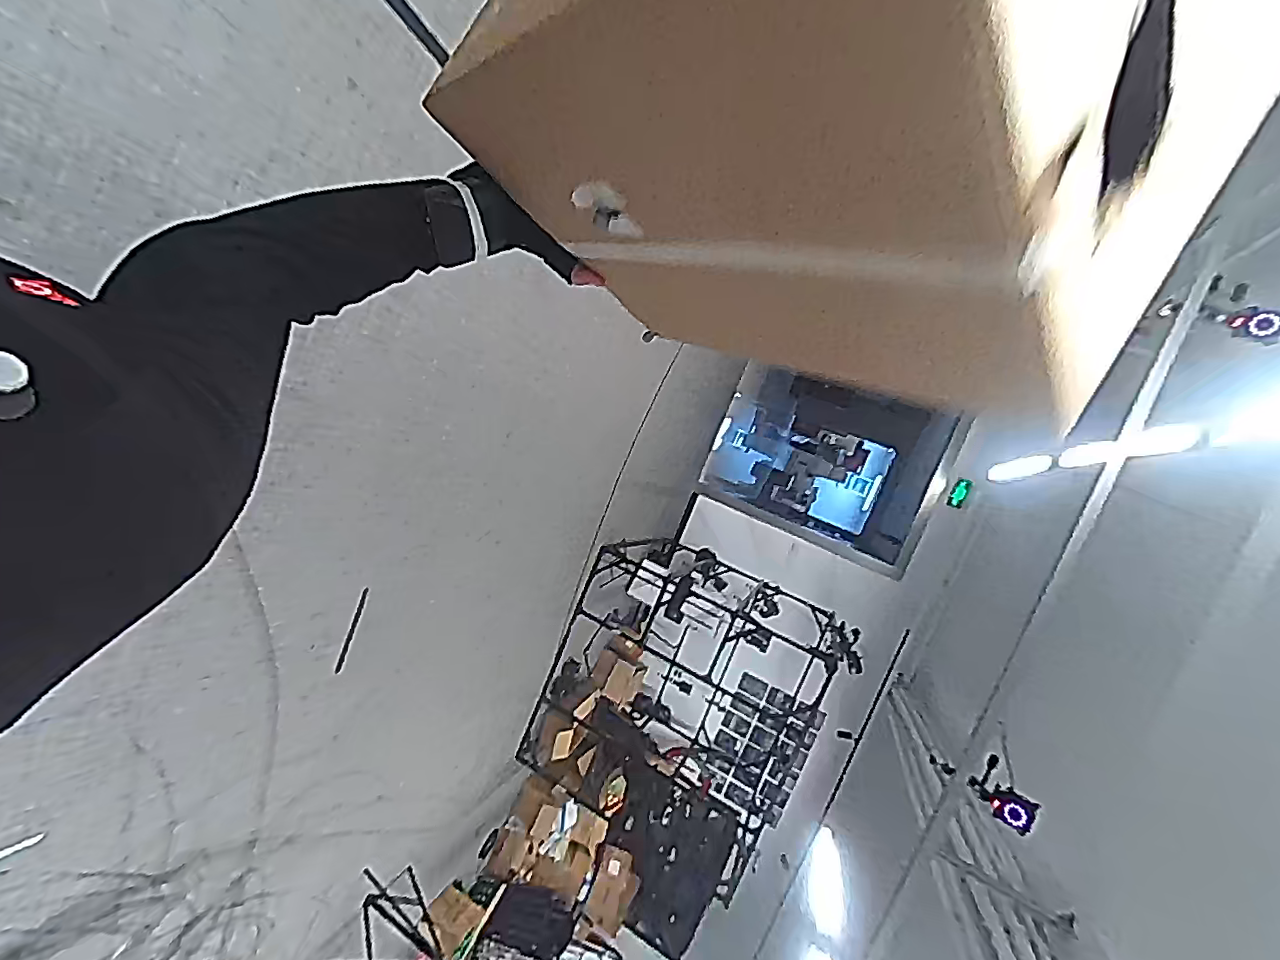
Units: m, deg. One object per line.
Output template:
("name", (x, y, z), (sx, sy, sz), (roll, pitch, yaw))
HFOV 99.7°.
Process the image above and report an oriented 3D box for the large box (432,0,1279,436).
("large box", (0.122, -0.286, 0.380), (0.320, 0.408, 0.320), (35, 90, -44))
